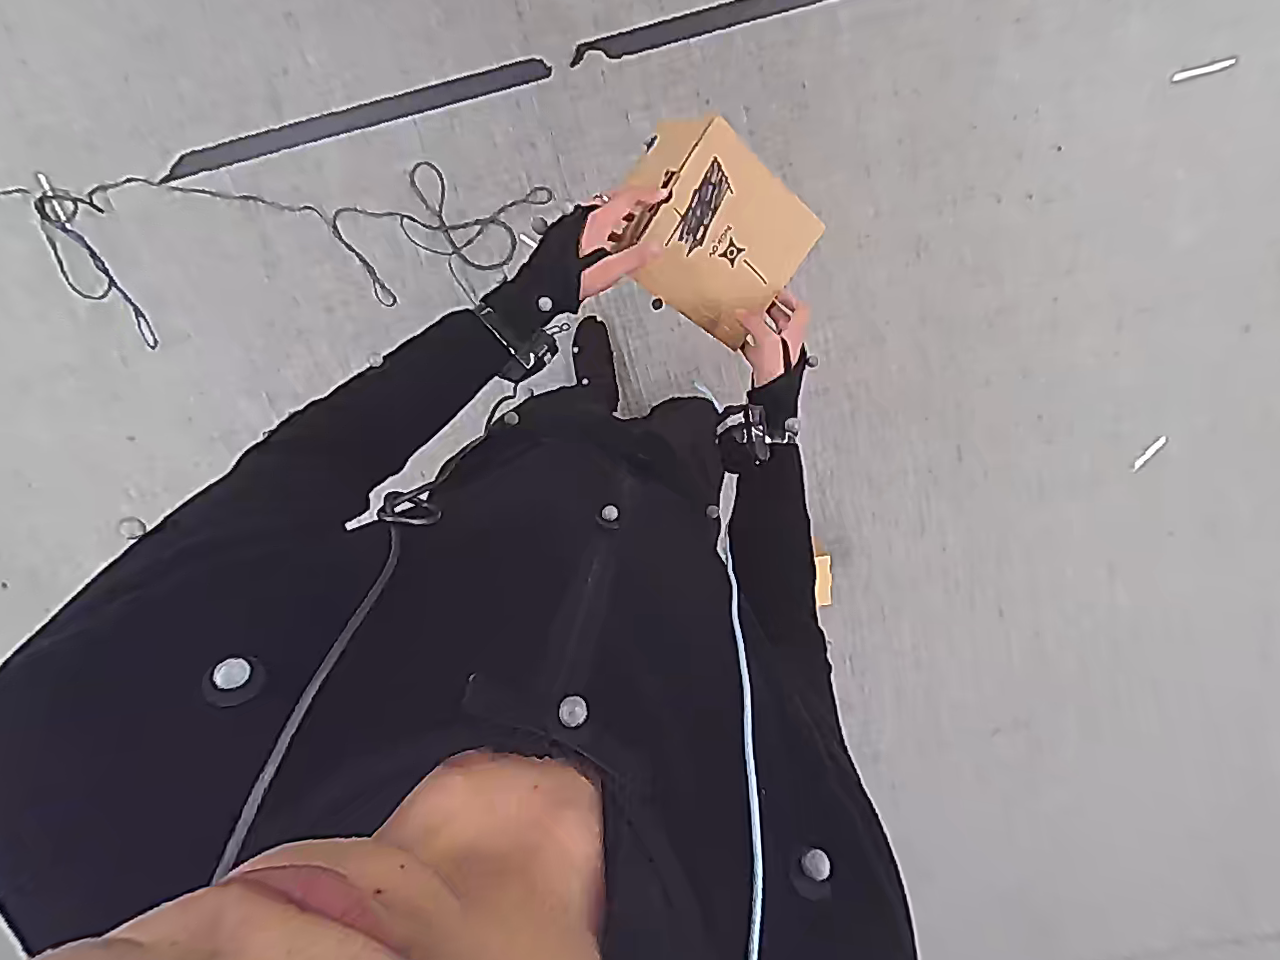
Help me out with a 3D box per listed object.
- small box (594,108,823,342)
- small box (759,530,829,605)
[{"bbox_3d":[0.068,-0.295,0.637,0.179,0.176,0.168,25,110,-31],"label":"small box"},{"bbox_3d":[0.474,0.269,1.689,0.179,0.176,0.168,-8,108,-1],"label":"small box"}]
